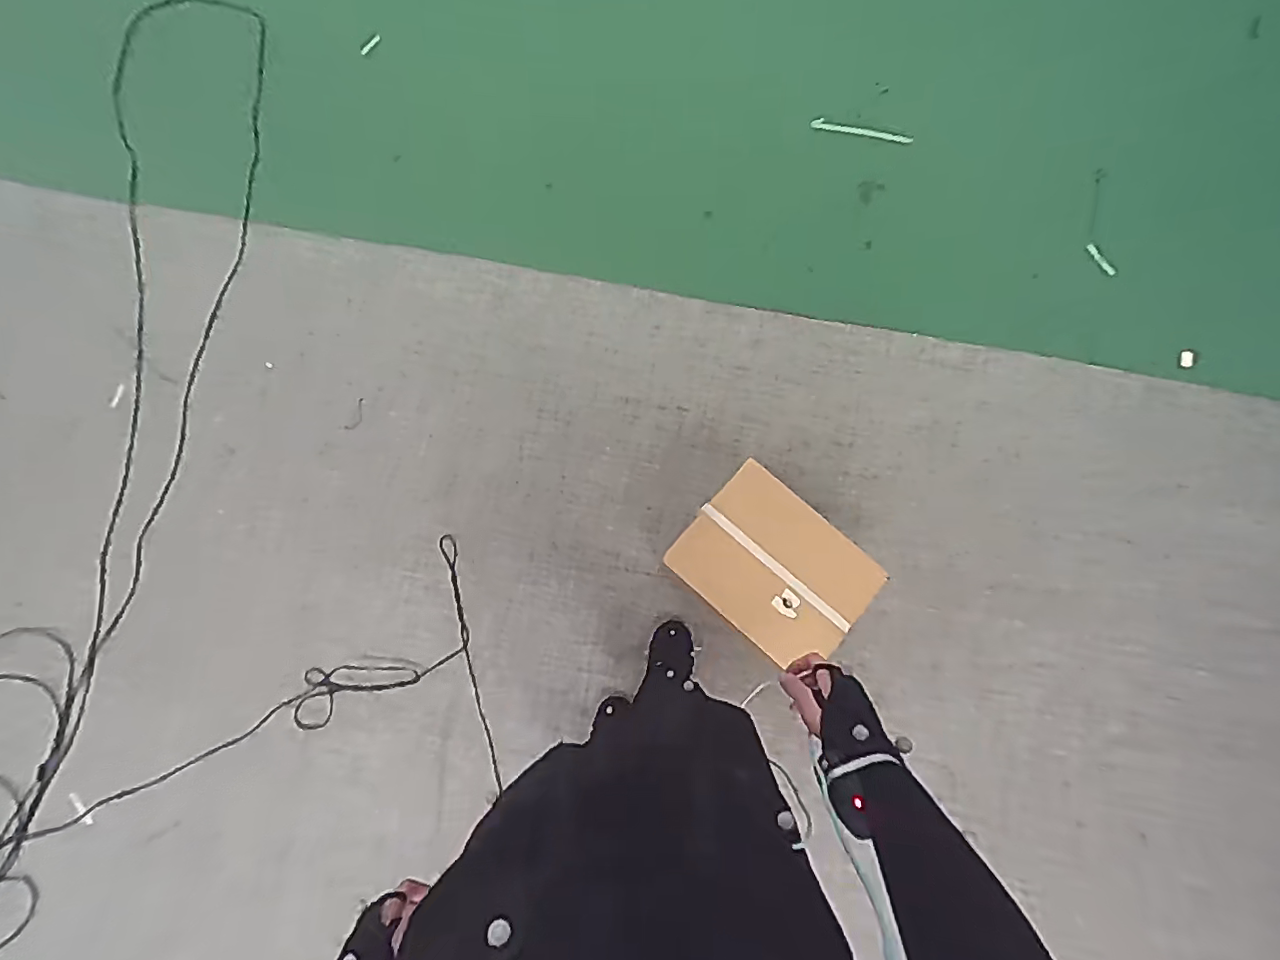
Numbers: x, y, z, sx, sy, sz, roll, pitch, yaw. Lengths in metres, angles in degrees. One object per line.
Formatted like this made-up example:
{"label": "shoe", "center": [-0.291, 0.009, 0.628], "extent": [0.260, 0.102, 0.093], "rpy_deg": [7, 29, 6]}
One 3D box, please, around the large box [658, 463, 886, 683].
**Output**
{"label": "large box", "center": [0.293, 0.223, 1.336], "extent": [0.408, 0.320, 0.320], "rpy_deg": [41, 82, 7]}
